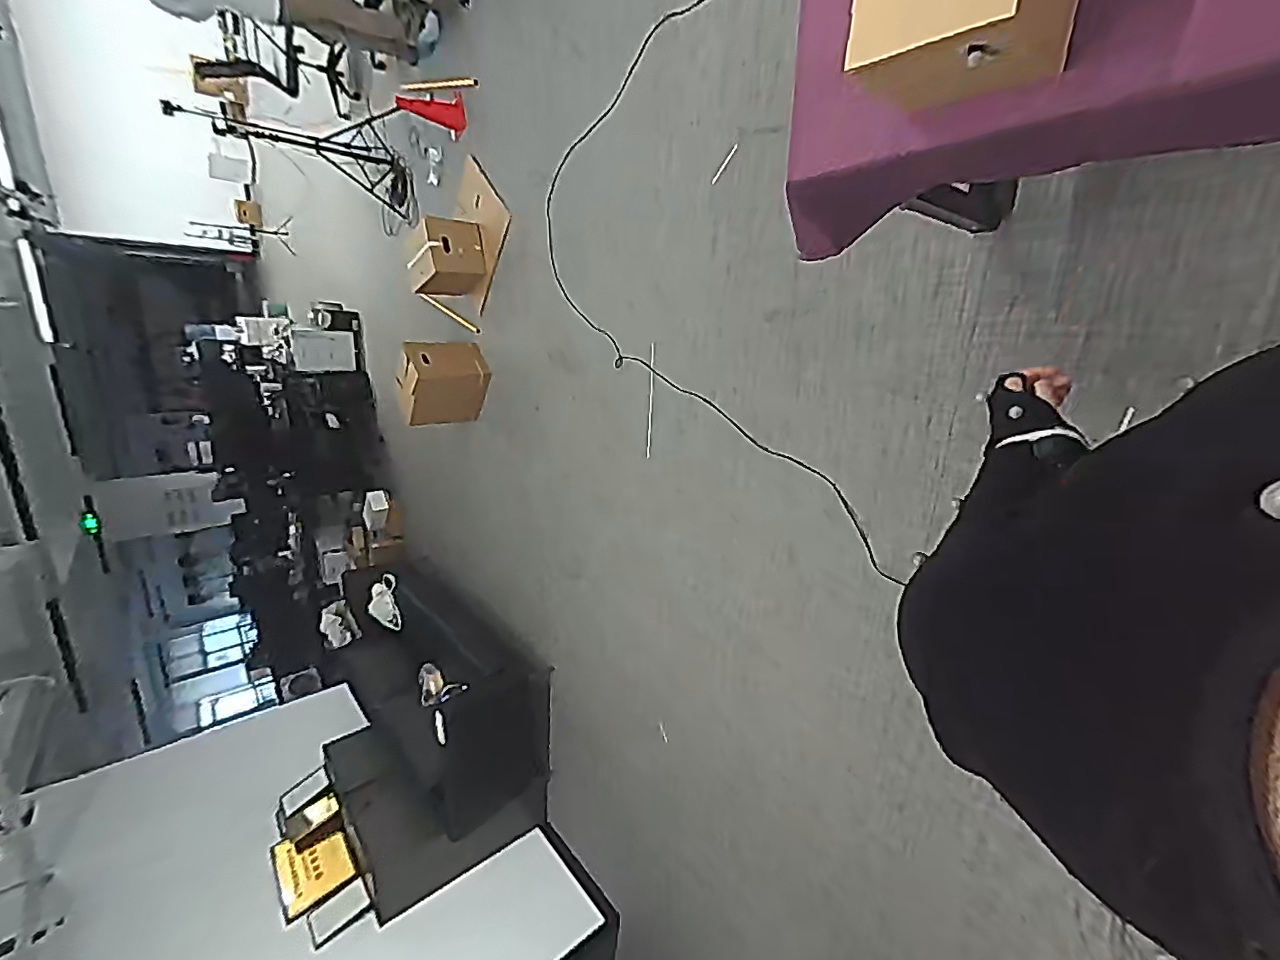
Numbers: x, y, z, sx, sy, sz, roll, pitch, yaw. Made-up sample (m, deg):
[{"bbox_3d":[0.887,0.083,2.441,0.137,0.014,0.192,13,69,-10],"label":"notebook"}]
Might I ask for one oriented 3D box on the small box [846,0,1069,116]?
[{"bbox_3d":[0.363,-0.539,0.603,0.179,0.176,0.168,20,113,47],"label":"small box"}]
